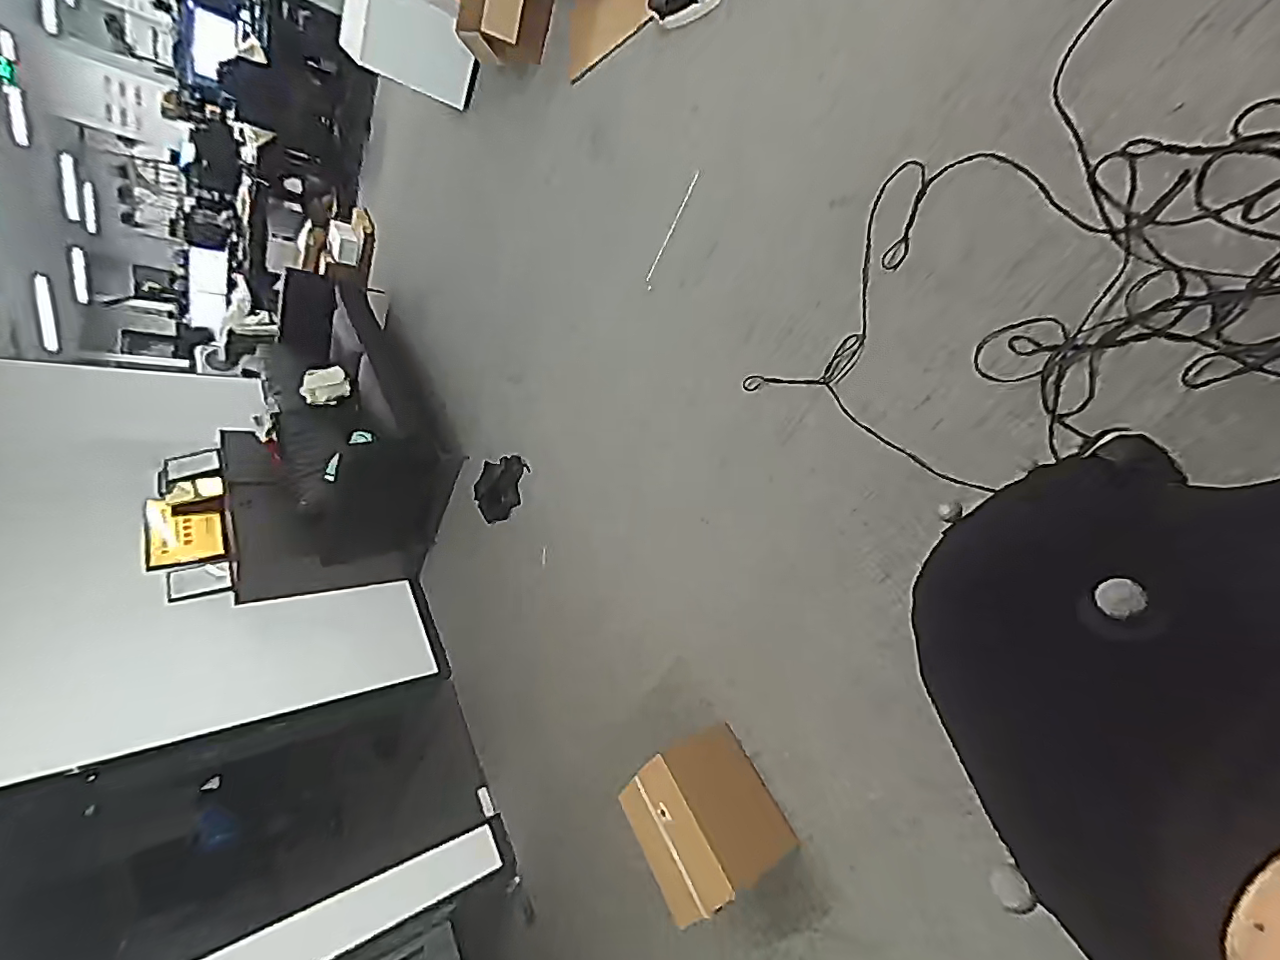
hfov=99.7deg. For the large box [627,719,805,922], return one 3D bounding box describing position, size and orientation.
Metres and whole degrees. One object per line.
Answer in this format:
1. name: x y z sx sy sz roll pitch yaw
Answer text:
1. large box: 0.228 1.052 1.708 0.408 0.320 0.320 55 129 34
